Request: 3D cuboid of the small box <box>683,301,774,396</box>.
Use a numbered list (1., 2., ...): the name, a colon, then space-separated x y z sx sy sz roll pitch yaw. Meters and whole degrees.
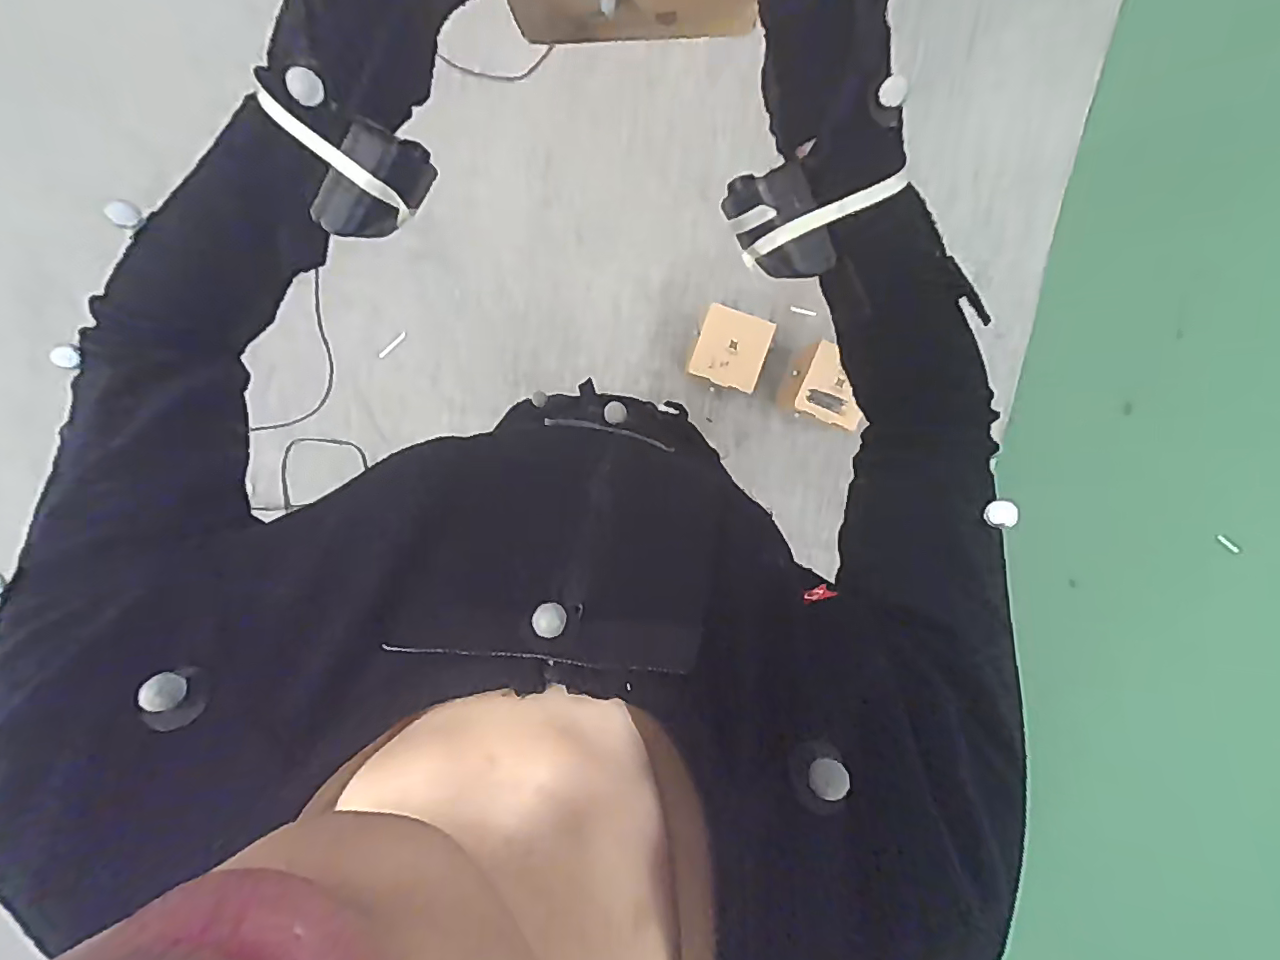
1. small box: 0.212 -0.320 1.354 0.168 0.176 0.179 19 96 -2
